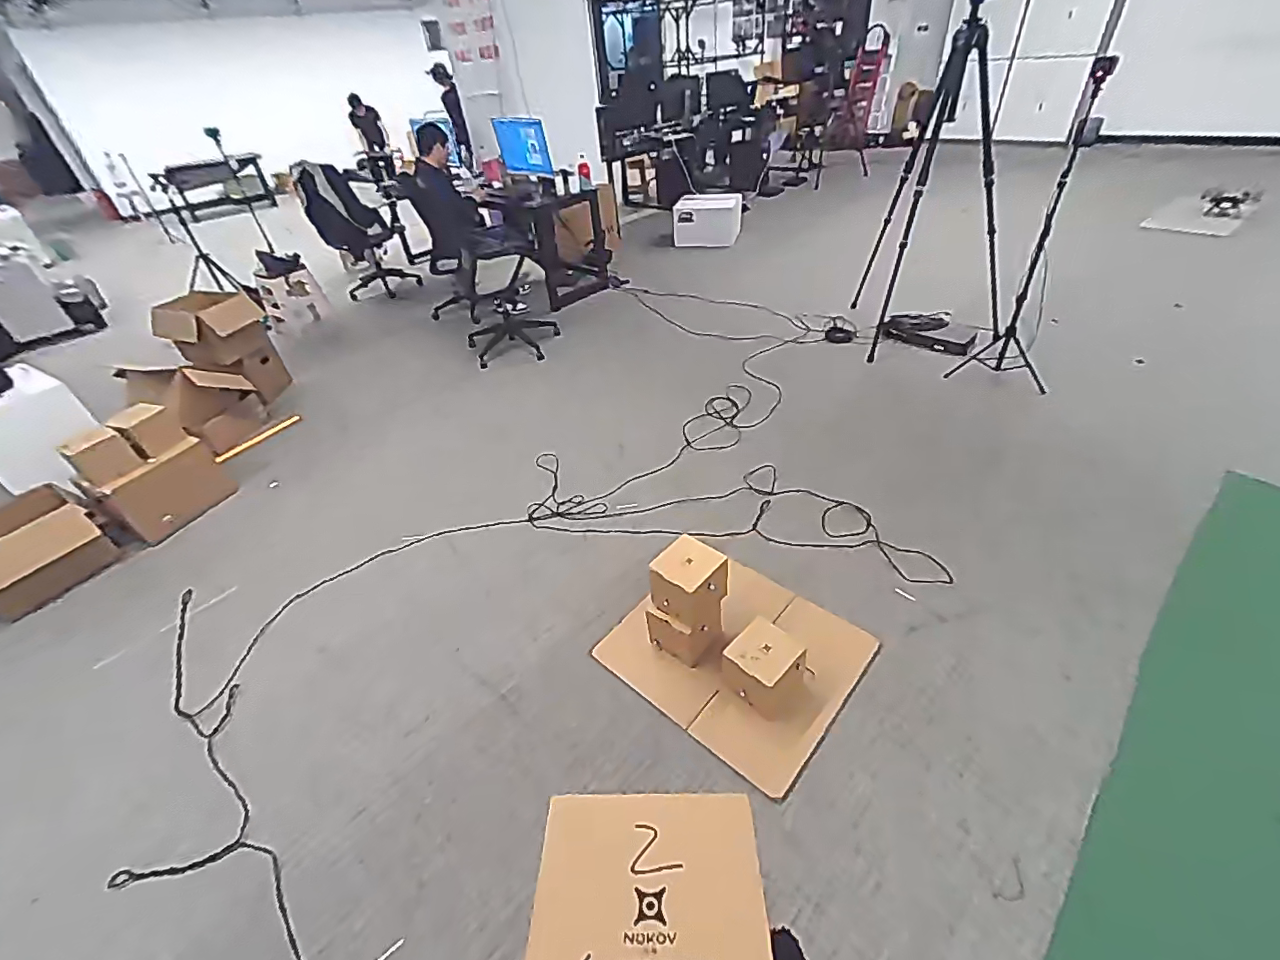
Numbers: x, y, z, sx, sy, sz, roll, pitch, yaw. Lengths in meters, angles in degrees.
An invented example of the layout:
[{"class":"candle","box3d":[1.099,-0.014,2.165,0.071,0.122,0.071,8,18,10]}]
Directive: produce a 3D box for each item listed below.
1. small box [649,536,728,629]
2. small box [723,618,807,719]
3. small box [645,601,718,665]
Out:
[{"class":"small box","box3d":[0.146,0.306,1.617,0.168,0.176,0.179,27,49,35]},{"class":"small box","box3d":[0.354,0.541,1.555,0.179,0.176,0.168,-34,45,-29]},{"class":"small box","box3d":[0.138,0.446,1.704,0.168,0.176,0.179,24,47,33]}]
